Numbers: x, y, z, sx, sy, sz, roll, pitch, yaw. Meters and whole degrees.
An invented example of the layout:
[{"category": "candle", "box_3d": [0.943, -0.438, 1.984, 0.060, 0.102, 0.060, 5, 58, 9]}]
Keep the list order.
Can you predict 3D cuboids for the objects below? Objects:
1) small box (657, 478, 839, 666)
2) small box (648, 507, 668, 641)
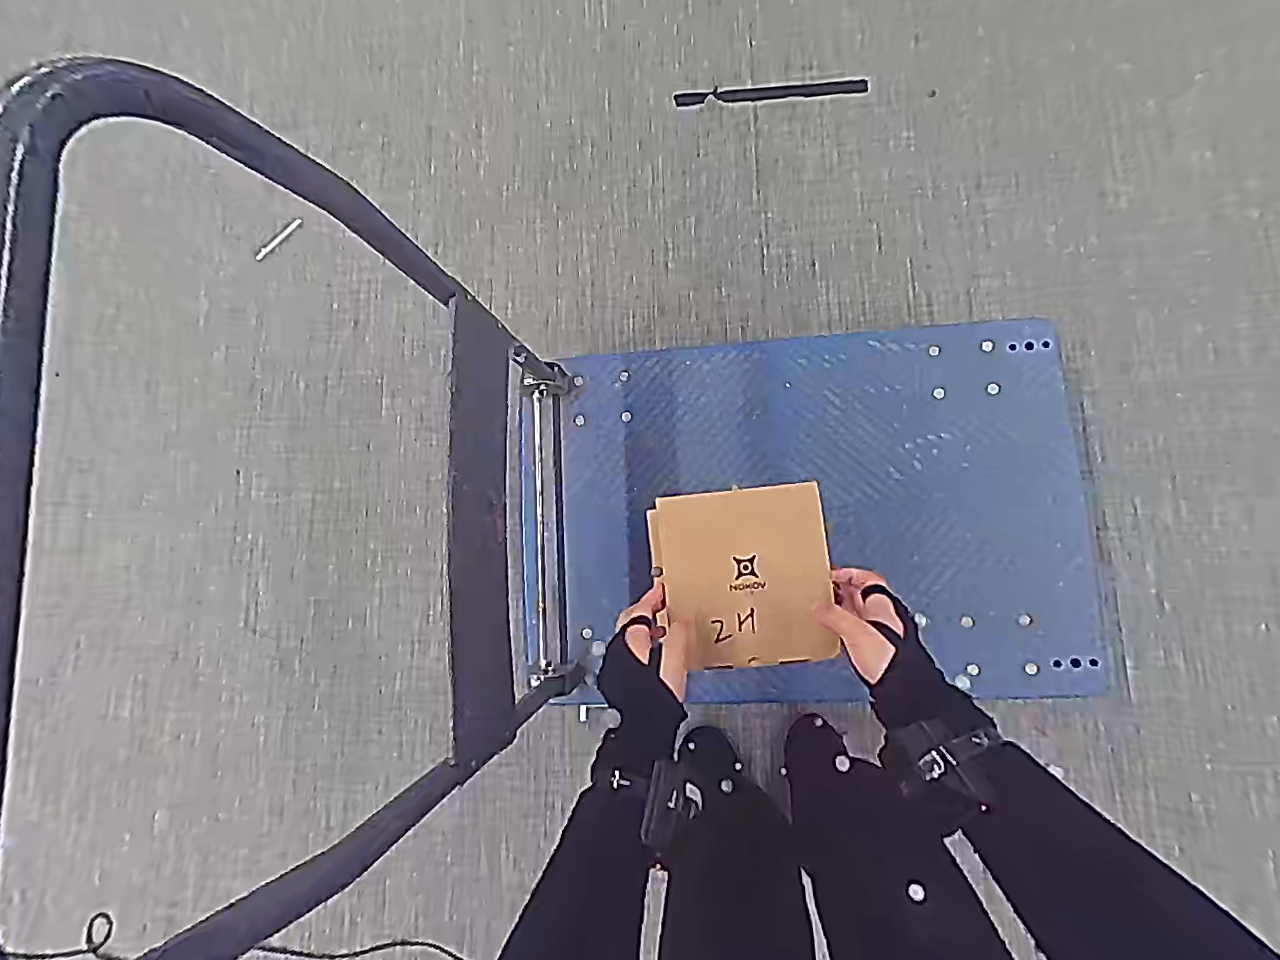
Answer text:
[{"category": "small box", "box_3d": [0.112, 0.101, 0.614, 0.168, 0.176, 0.179, -6, 82, 6]}, {"category": "small box", "box_3d": [0.104, 0.125, 0.779, 0.168, 0.176, 0.179, -7, 82, 6]}]
